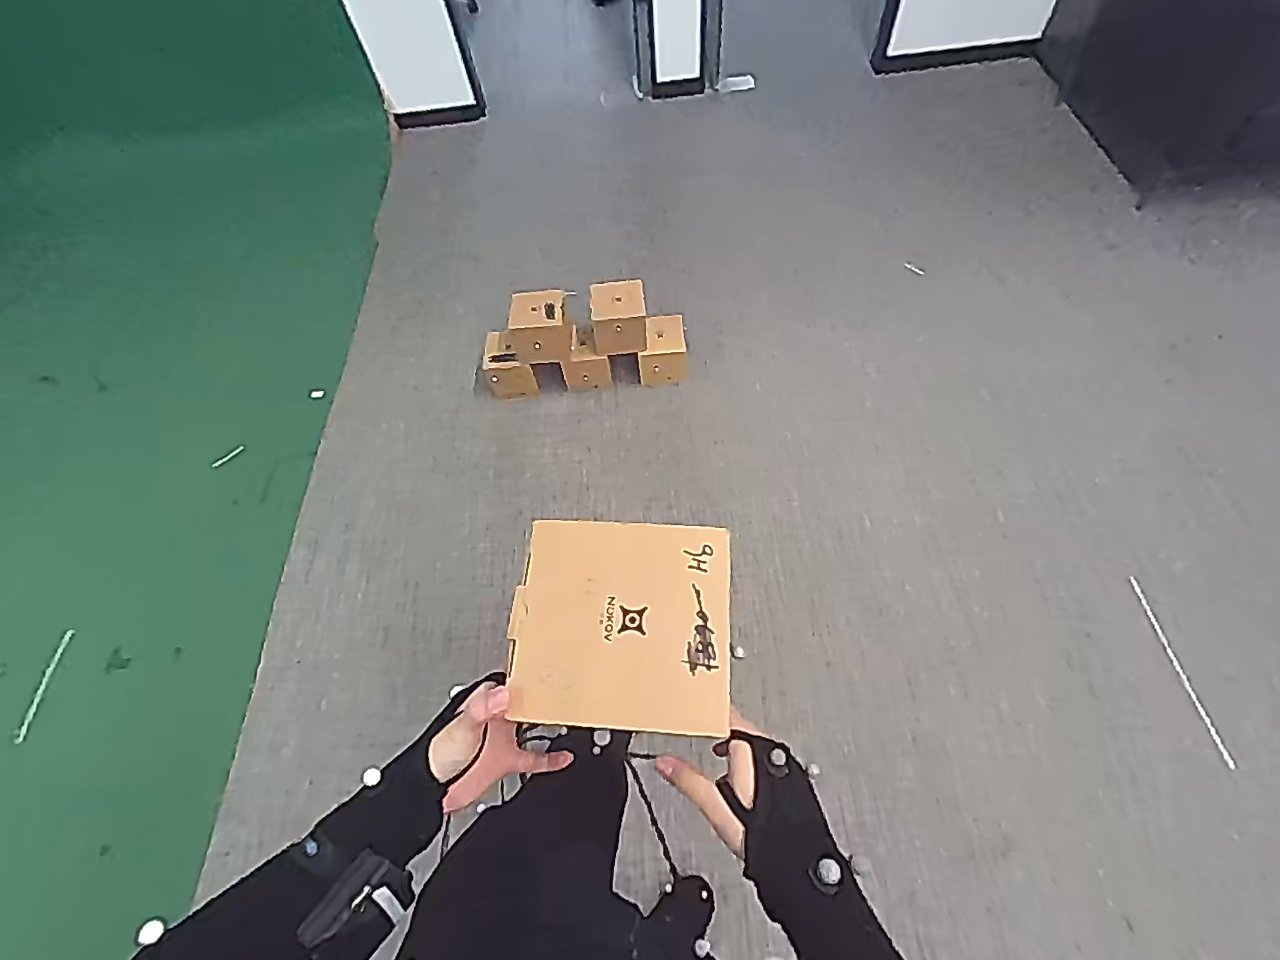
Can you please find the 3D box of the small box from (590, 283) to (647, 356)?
[{"bbox_3d":[-0.070,-0.535,1.818,0.179,0.176,0.168,-5,61,0],"label":"small box"}]

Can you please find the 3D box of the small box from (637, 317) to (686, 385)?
[{"bbox_3d":[0.077,-0.459,1.952,0.168,0.176,0.179,-5,60,2],"label":"small box"}]

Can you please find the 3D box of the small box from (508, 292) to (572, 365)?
[{"bbox_3d":[-0.328,-0.506,1.820,0.179,0.176,0.168,-3,60,4],"label":"small box"}]

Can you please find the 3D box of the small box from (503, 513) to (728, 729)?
[{"bbox_3d":[-0.009,0.140,0.516,0.179,0.176,0.168,2,64,5],"label":"small box"}]
